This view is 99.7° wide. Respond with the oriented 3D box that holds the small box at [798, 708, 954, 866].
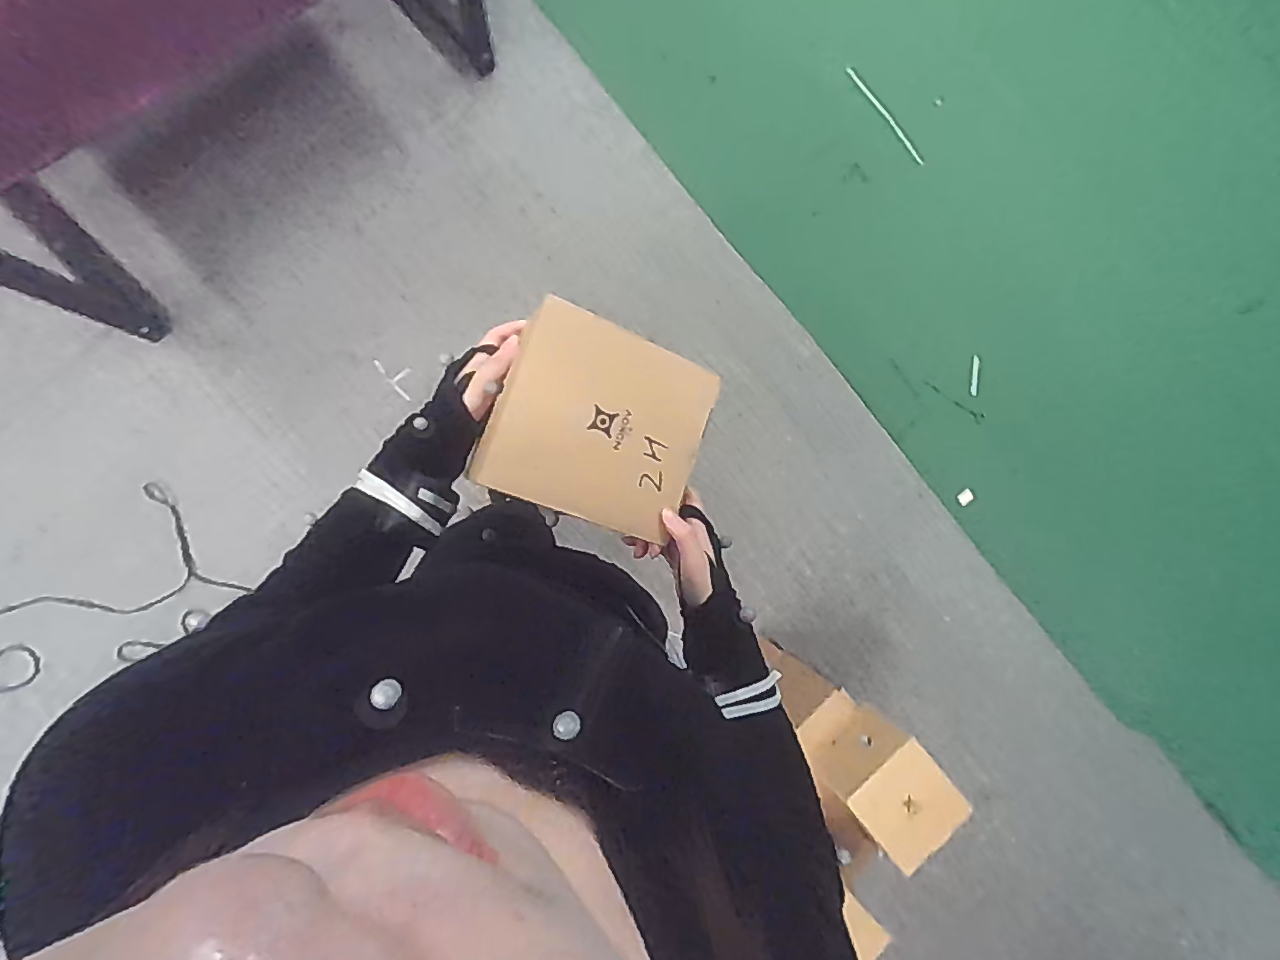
[{"bbox_3d":[0.436,0.564,1.029,0.168,0.176,0.179,-39,94,-6],"label":"small box"}]
